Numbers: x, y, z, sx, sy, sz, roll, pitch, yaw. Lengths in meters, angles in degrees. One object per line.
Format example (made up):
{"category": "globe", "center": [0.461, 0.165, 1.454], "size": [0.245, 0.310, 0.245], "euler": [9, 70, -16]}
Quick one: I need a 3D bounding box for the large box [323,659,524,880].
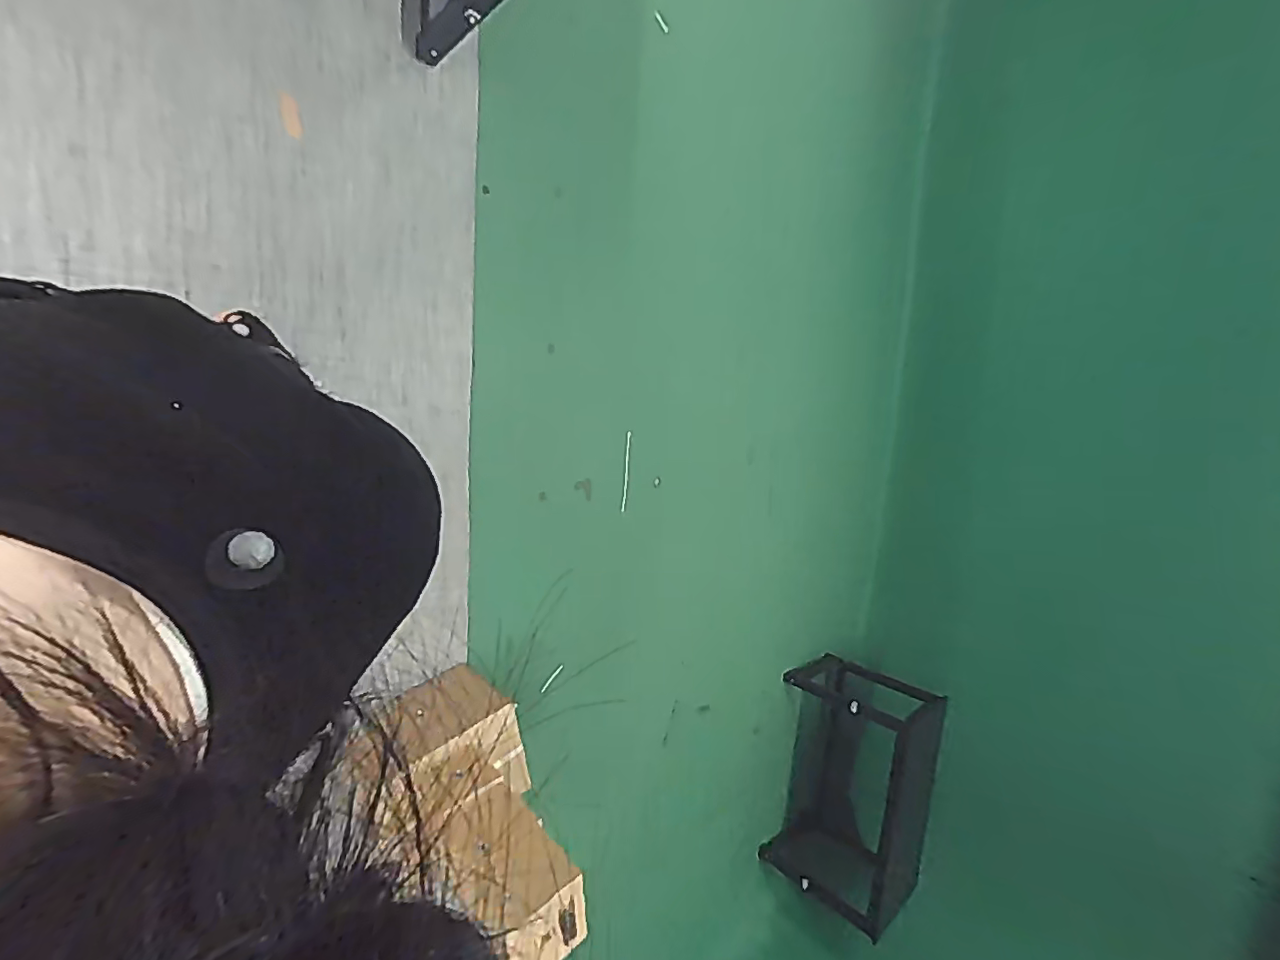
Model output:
{"category": "large box", "center": [-0.607, 0.789, 1.546], "size": [0.408, 0.320, 0.320], "euler": [-23, 115, -42]}

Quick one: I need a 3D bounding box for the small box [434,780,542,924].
{"category": "small box", "center": [-0.345, 0.832, 1.234], "size": [0.179, 0.176, 0.168], "euler": [-13, 107, -42]}

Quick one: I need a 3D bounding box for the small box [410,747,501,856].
{"category": "small box", "center": [-0.456, 0.802, 1.348], "size": [0.168, 0.176, 0.179], "euler": [-15, 108, -42]}
